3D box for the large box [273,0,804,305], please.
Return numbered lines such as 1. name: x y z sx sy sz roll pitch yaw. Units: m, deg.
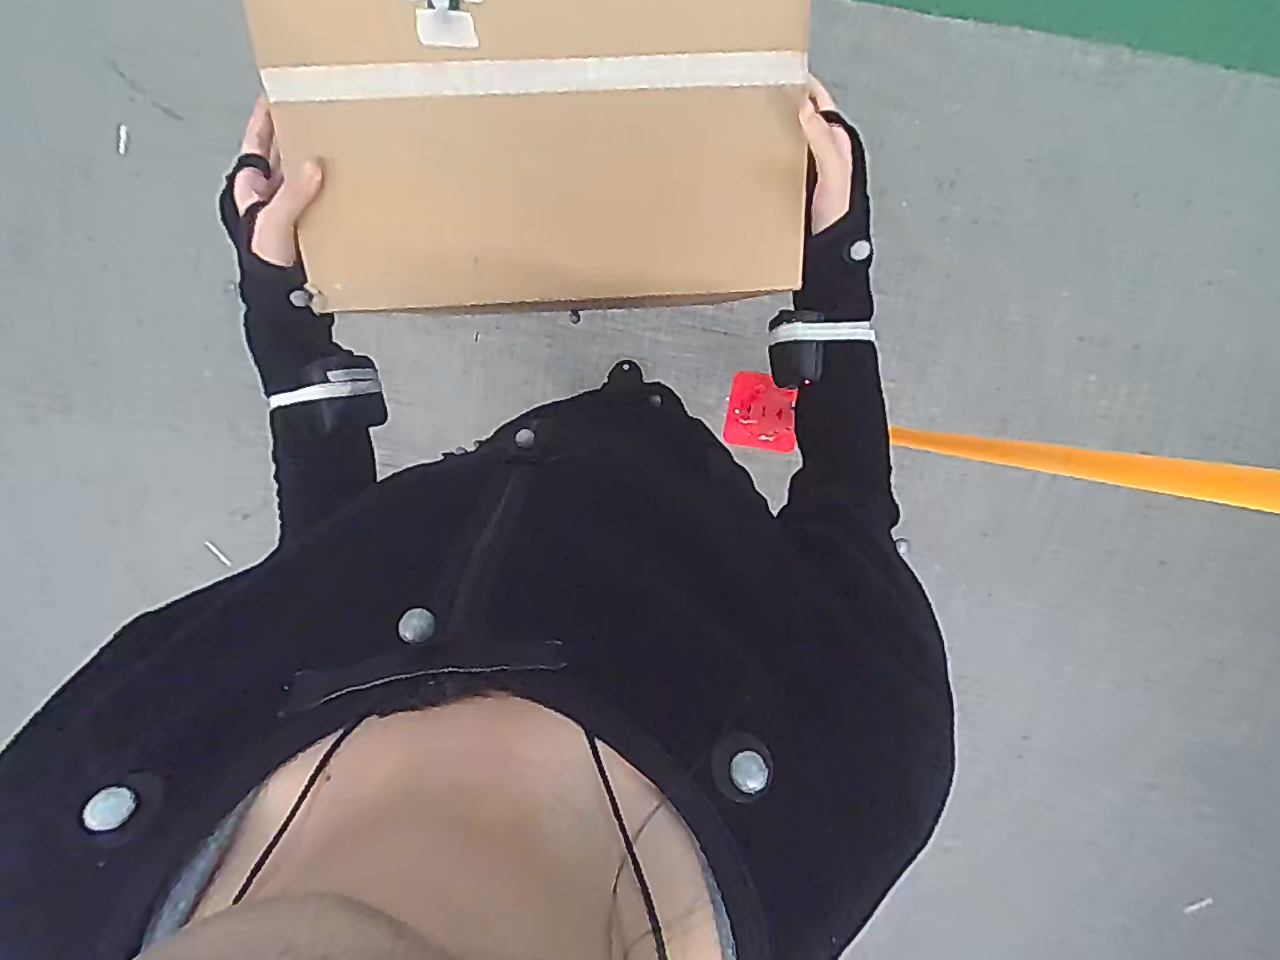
1. large box: -0.076 -0.353 0.562 0.408 0.320 0.320 -3 107 -2
